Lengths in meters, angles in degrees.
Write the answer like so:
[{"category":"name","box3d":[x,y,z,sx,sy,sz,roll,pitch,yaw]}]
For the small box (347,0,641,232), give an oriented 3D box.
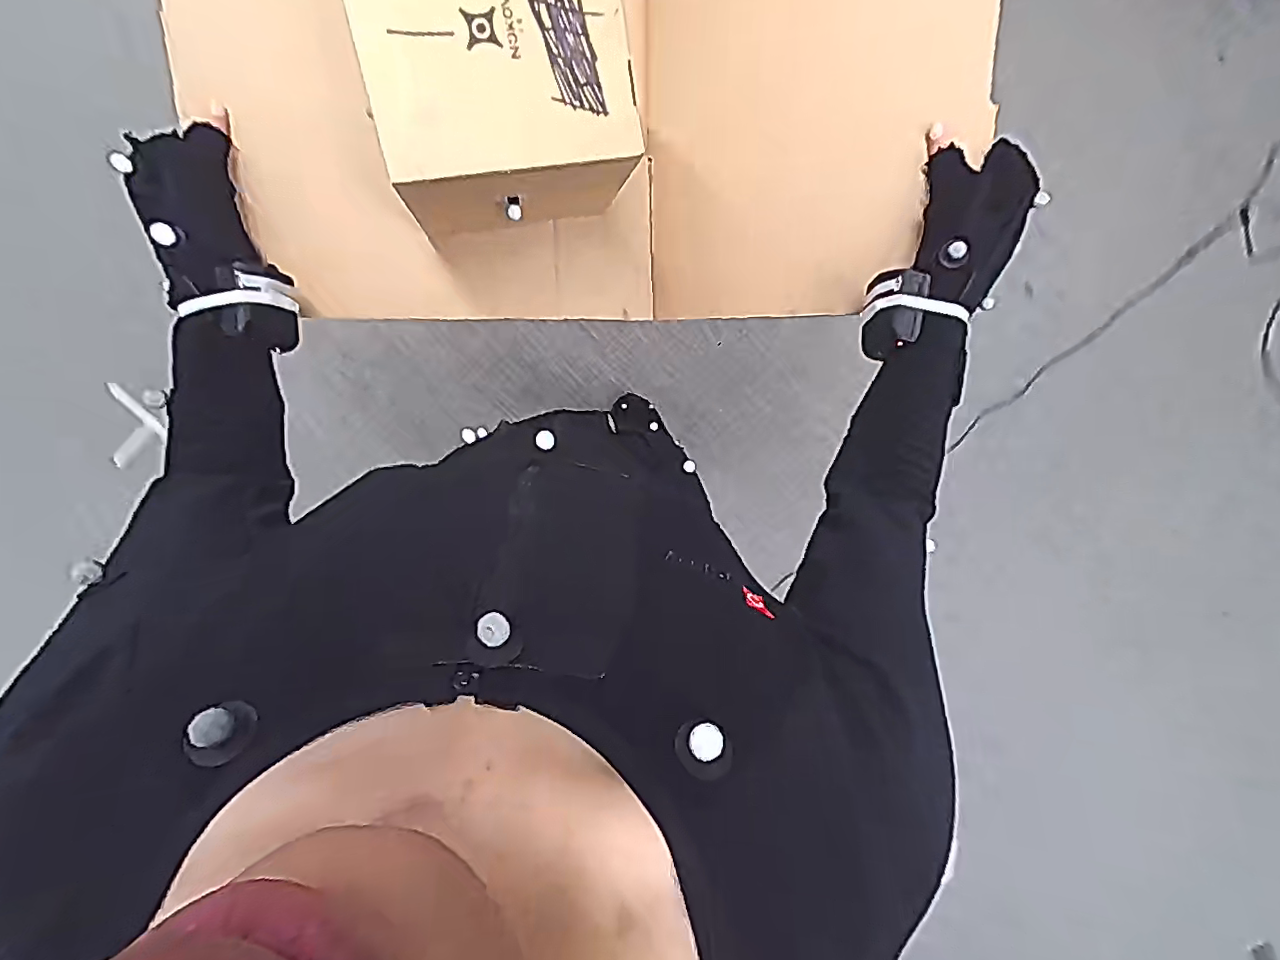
[{"category":"small box","box3d":[-0.114,-0.311,0.432,0.179,0.176,0.168,-14,106,-10]}]
